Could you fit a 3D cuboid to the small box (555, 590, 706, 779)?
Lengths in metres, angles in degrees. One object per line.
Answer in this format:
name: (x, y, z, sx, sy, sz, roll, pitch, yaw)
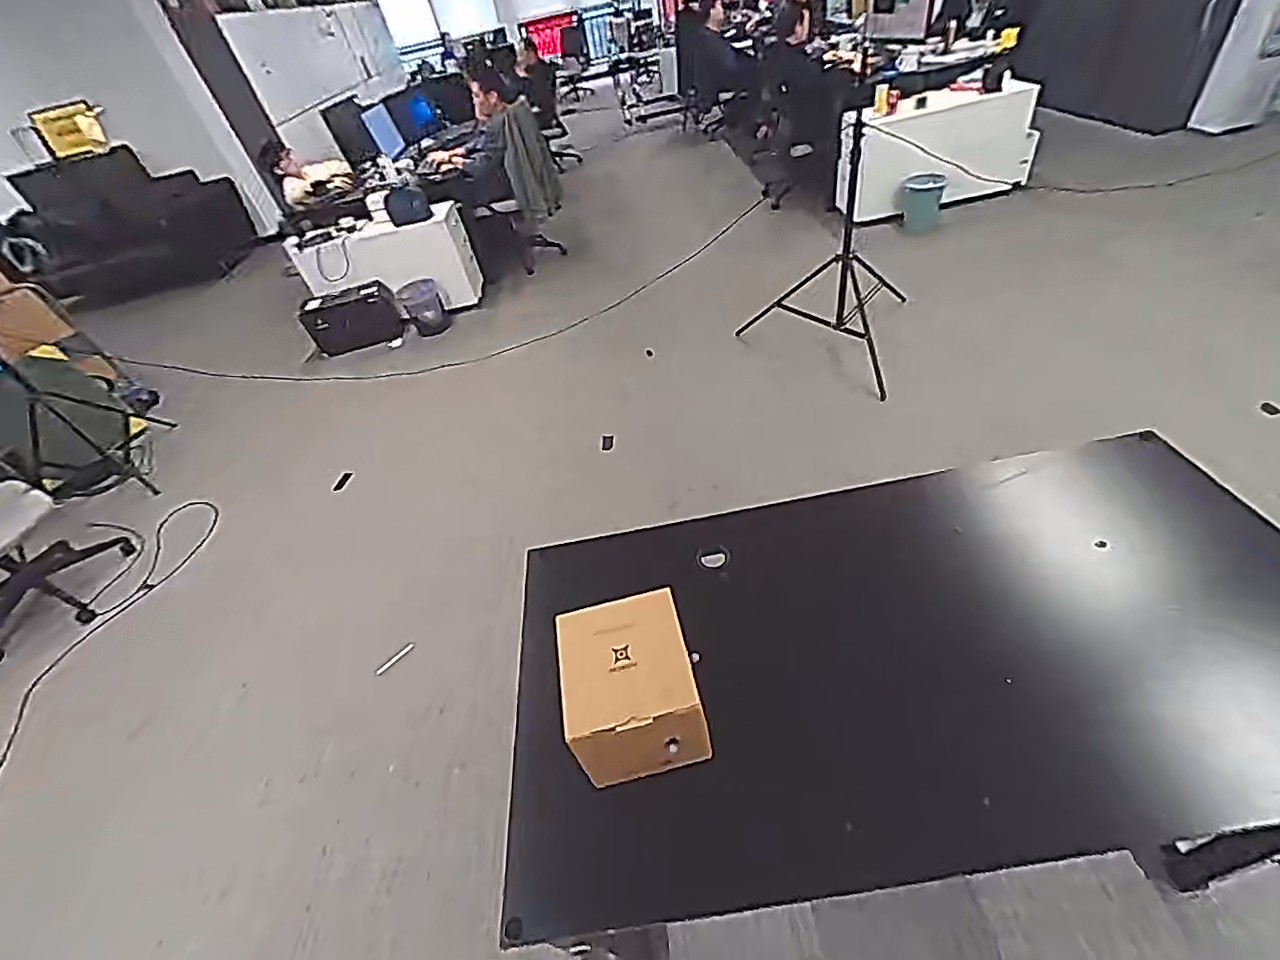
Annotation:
small box: (-0.012, 0.287, 0.746, 0.168, 0.176, 0.179, -14, 42, -2)
